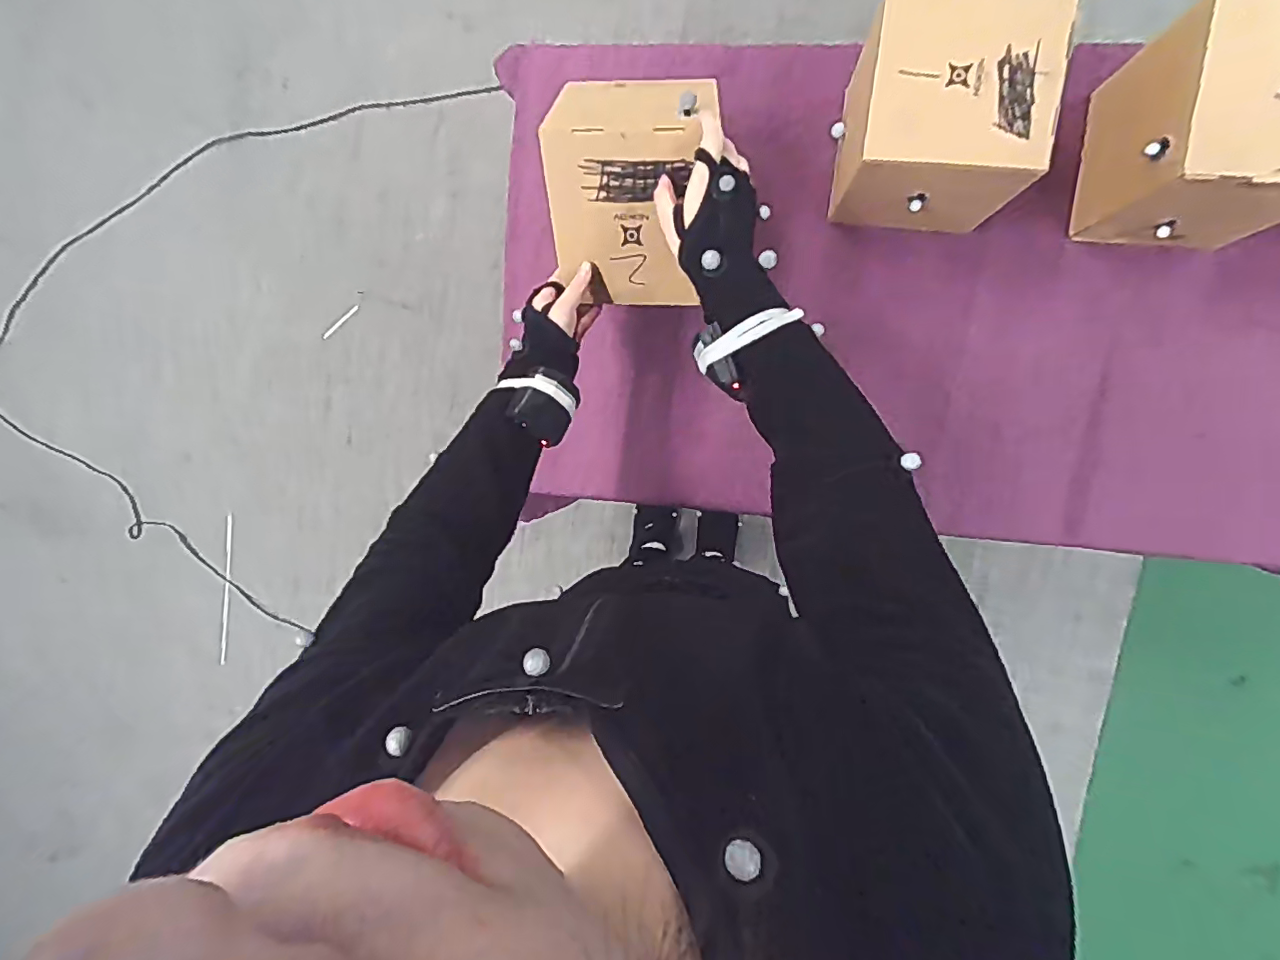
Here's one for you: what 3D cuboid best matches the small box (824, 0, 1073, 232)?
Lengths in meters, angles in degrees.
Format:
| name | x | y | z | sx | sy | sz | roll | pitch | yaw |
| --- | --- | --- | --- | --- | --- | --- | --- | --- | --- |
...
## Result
| name | x | y | z | sx | sy | sz | roll | pitch | yaw |
| --- | --- | --- | --- | --- | --- | --- | --- | --- | --- |
| small box | 0.321 | -0.392 | 0.602 | 0.179 | 0.176 | 0.168 | 8 | 96 | 8 |

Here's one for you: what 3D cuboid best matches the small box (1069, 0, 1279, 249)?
| name | x | y | z | sx | sy | sz | roll | pitch | yaw |
| --- | --- | --- | --- | --- | --- | --- | --- | --- | --- |
| small box | 0.600 | -0.365 | 0.569 | 0.168 | 0.176 | 0.179 | 6 | 96 | 7 |
